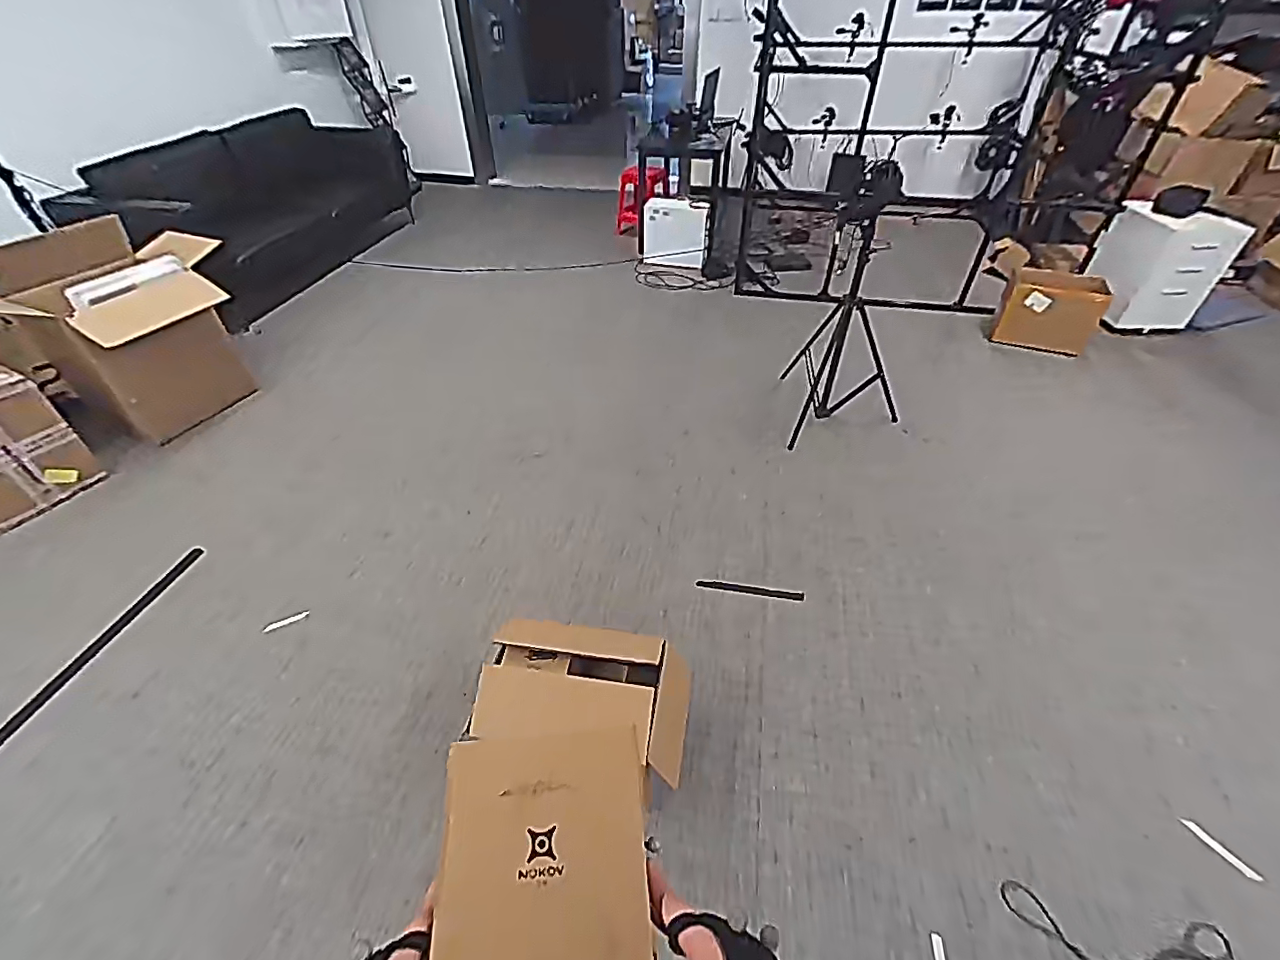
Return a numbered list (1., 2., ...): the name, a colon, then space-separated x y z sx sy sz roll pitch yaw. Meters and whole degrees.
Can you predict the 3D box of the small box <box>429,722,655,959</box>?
1. small box: -0.075 0.336 0.492 0.168 0.176 0.179 -5 55 -3
